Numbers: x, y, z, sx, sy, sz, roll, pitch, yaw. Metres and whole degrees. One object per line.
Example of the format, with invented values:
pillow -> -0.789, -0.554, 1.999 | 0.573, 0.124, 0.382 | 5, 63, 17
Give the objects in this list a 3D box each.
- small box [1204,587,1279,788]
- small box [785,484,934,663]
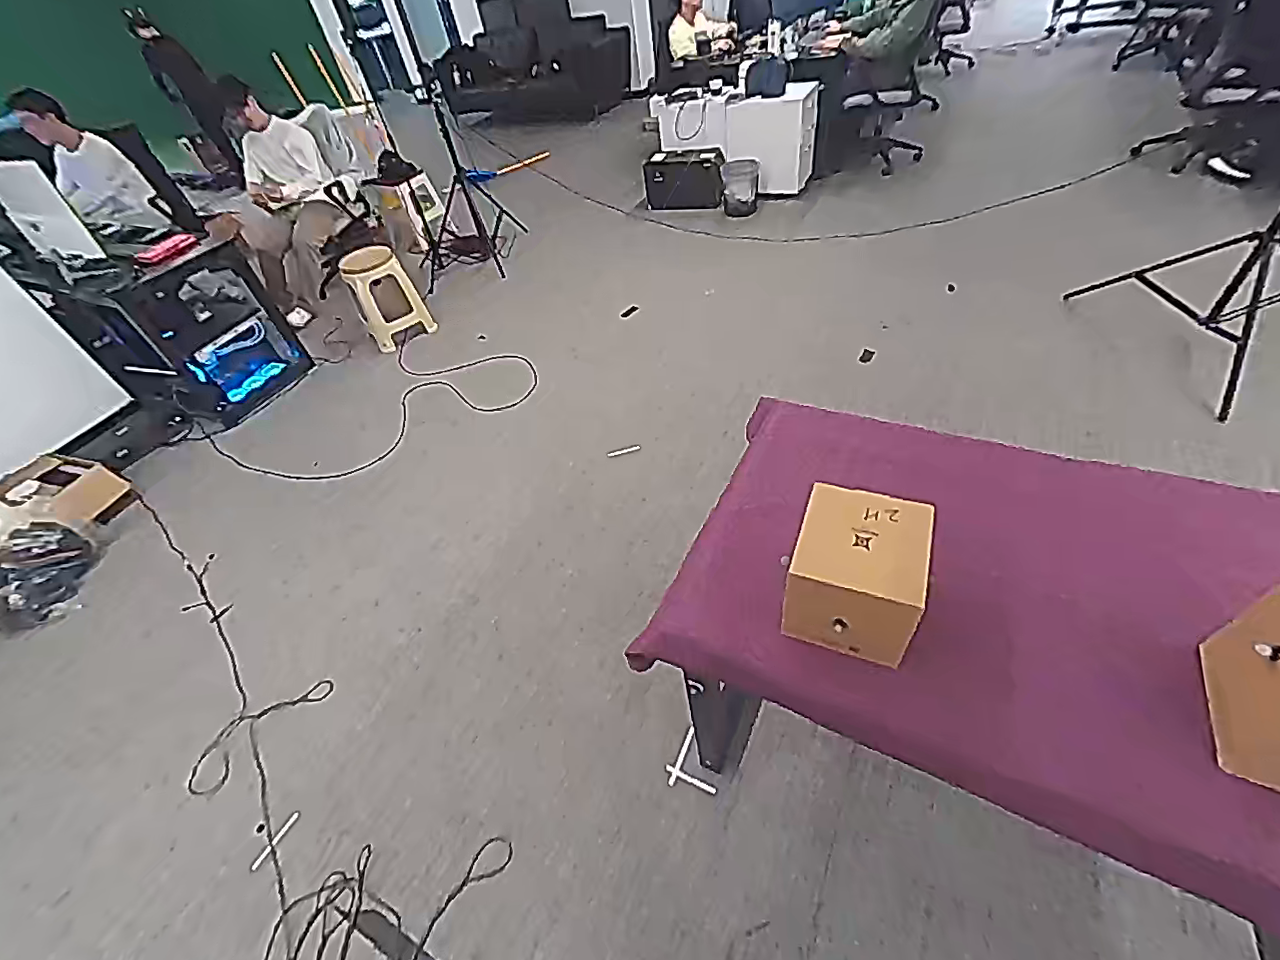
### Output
small box -> 0.781, 0.252, 0.594 | 0.168, 0.176, 0.179 | 16, 51, 25
small box -> 0.314, 0.137, 0.789 | 0.168, 0.176, 0.179 | 13, 49, 21
